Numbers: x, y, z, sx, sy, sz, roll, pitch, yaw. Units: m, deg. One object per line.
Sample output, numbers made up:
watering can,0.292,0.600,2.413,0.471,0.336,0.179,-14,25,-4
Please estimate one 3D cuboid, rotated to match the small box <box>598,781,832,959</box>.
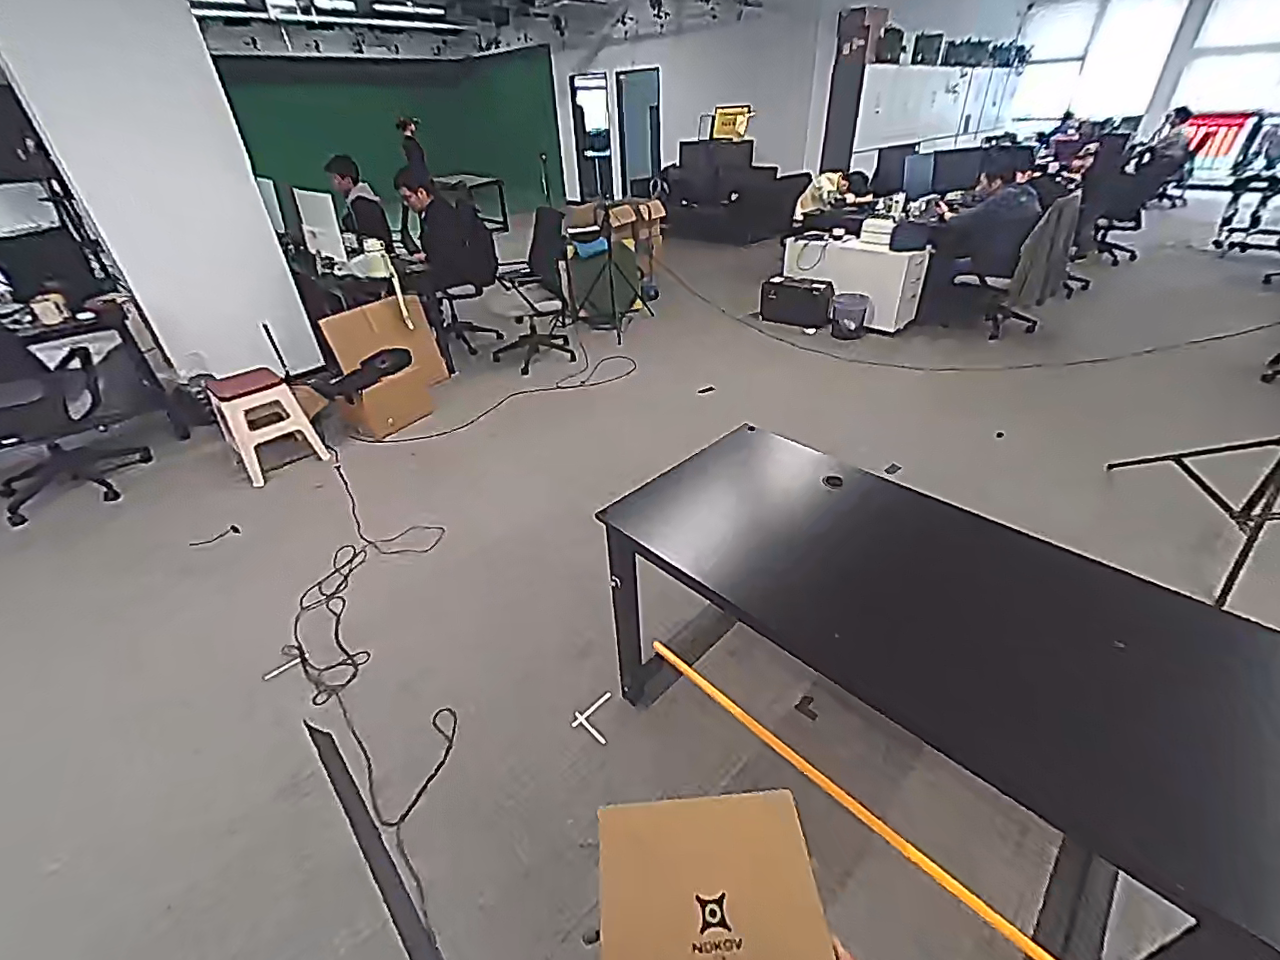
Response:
small box,0.051,0.379,0.446,0.168,0.176,0.179,-3,40,-2
